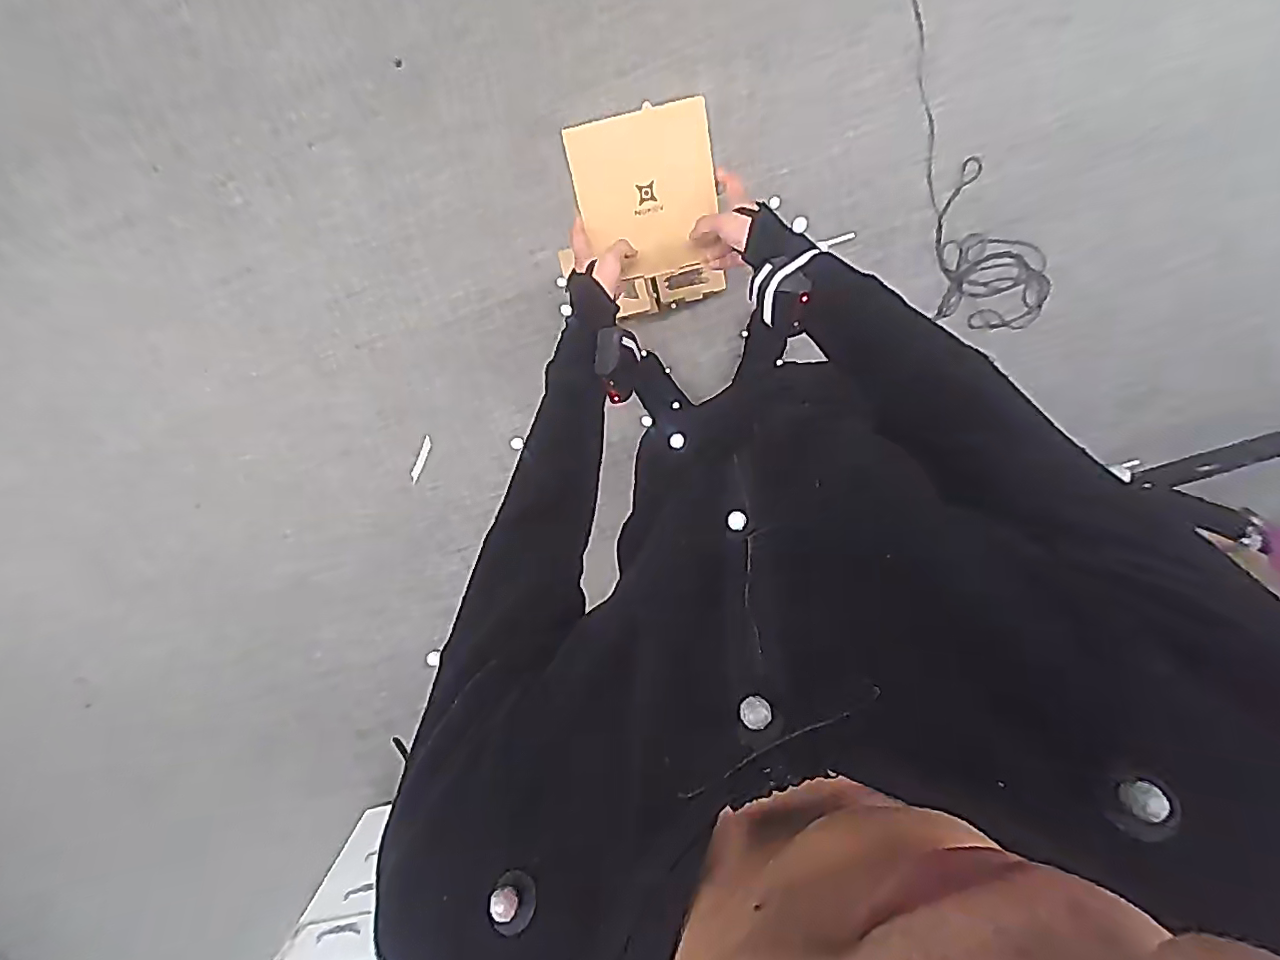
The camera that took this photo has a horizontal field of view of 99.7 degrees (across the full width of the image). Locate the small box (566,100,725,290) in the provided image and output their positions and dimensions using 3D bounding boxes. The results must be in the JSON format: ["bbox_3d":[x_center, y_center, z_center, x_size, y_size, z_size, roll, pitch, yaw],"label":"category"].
[{"bbox_3d":[0.007,-0.365,0.711,0.168,0.176,0.179,-12,117,4],"label":"small box"}]

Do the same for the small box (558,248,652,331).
[{"bbox_3d":[-0.073,-0.451,1.259,0.179,0.176,0.168,-12,105,7],"label":"small box"}]
